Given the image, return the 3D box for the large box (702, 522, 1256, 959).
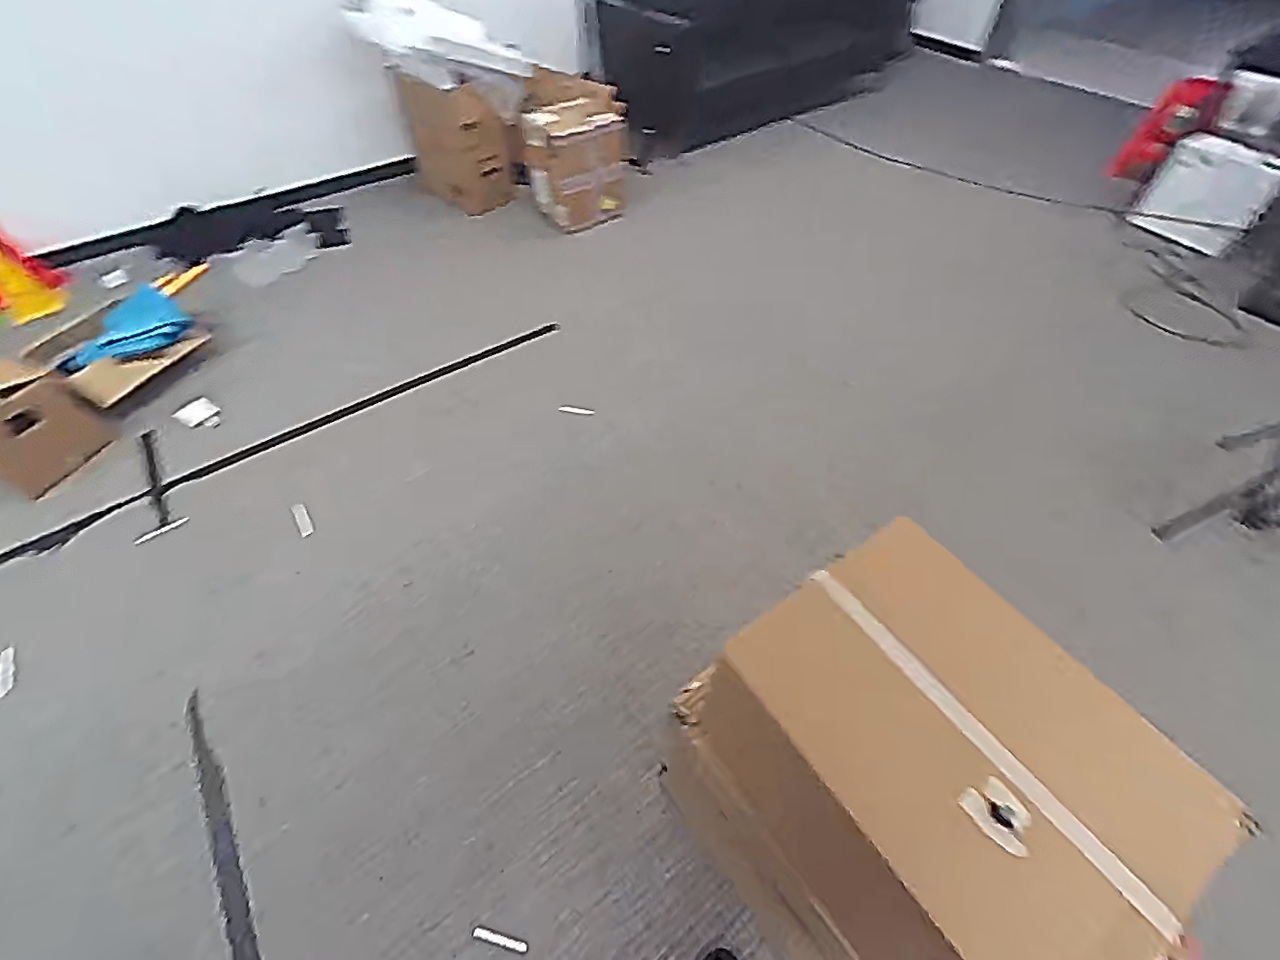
[{"bbox_3d":[0.327,0.336,0.657,0.320,0.320,0.408,-29,58,-19],"label":"large box"}]
